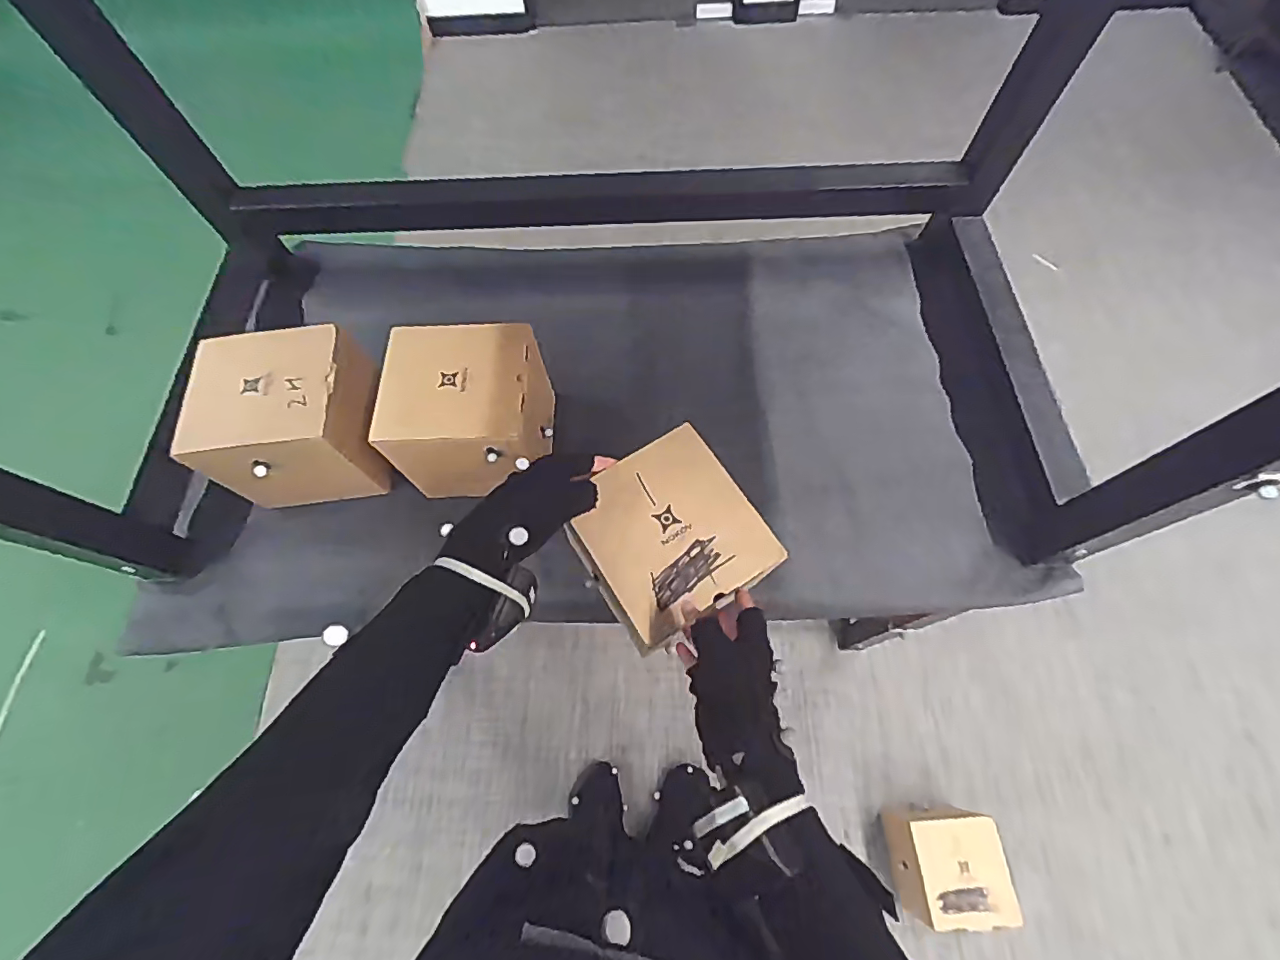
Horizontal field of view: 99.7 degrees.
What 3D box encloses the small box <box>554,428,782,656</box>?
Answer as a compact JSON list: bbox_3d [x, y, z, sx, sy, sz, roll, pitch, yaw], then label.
[{"bbox_3d":[0.025,0.079,0.605,0.168,0.176,0.179,-30,72,-13],"label":"small box"}]
